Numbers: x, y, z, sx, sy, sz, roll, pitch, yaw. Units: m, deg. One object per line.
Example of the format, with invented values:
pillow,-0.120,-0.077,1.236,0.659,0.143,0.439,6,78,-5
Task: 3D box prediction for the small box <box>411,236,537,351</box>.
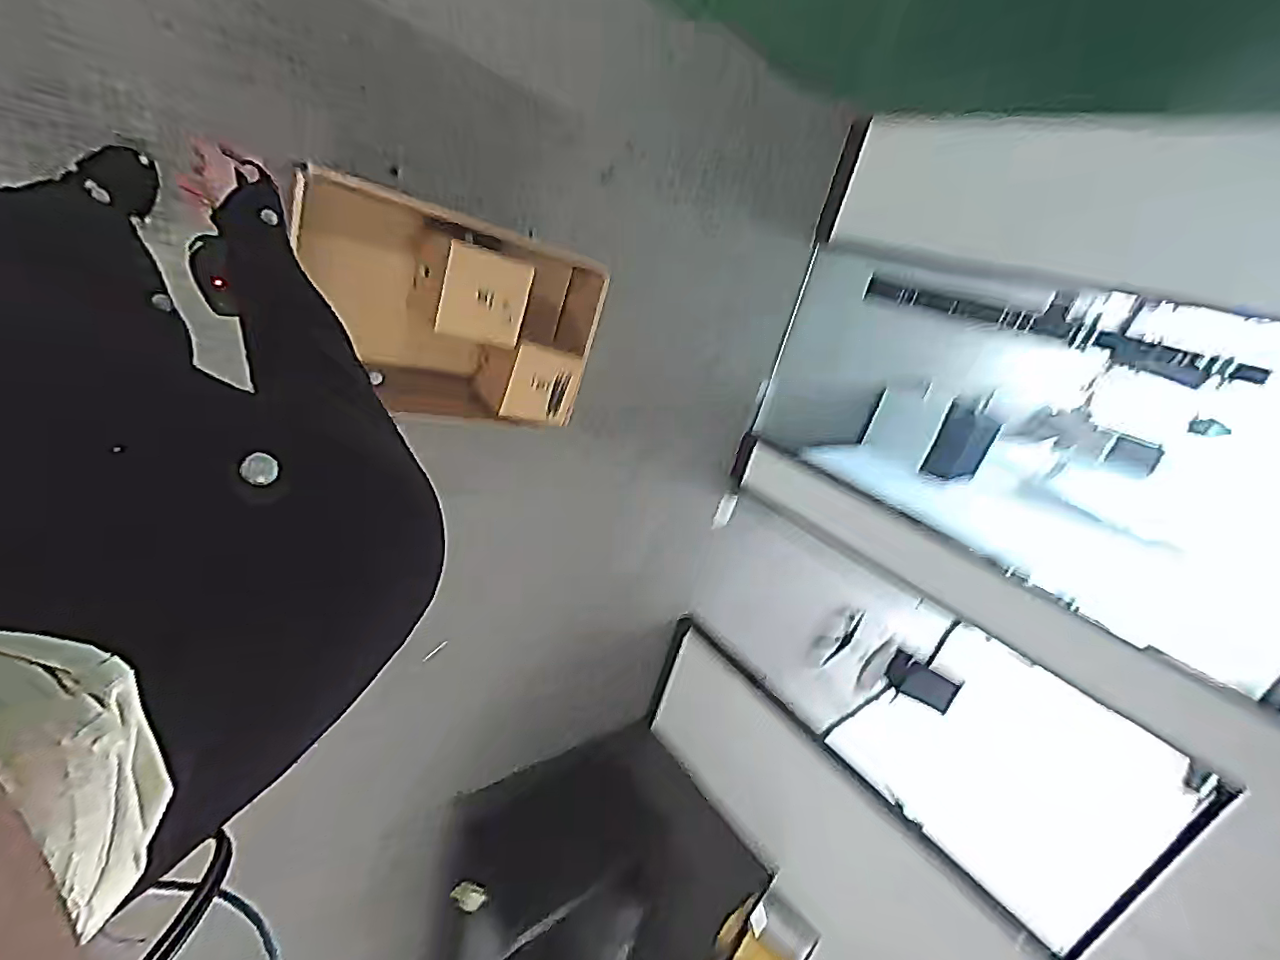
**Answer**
small box,-0.343,-0.380,1.097,0.179,0.176,0.168,3,116,-44
